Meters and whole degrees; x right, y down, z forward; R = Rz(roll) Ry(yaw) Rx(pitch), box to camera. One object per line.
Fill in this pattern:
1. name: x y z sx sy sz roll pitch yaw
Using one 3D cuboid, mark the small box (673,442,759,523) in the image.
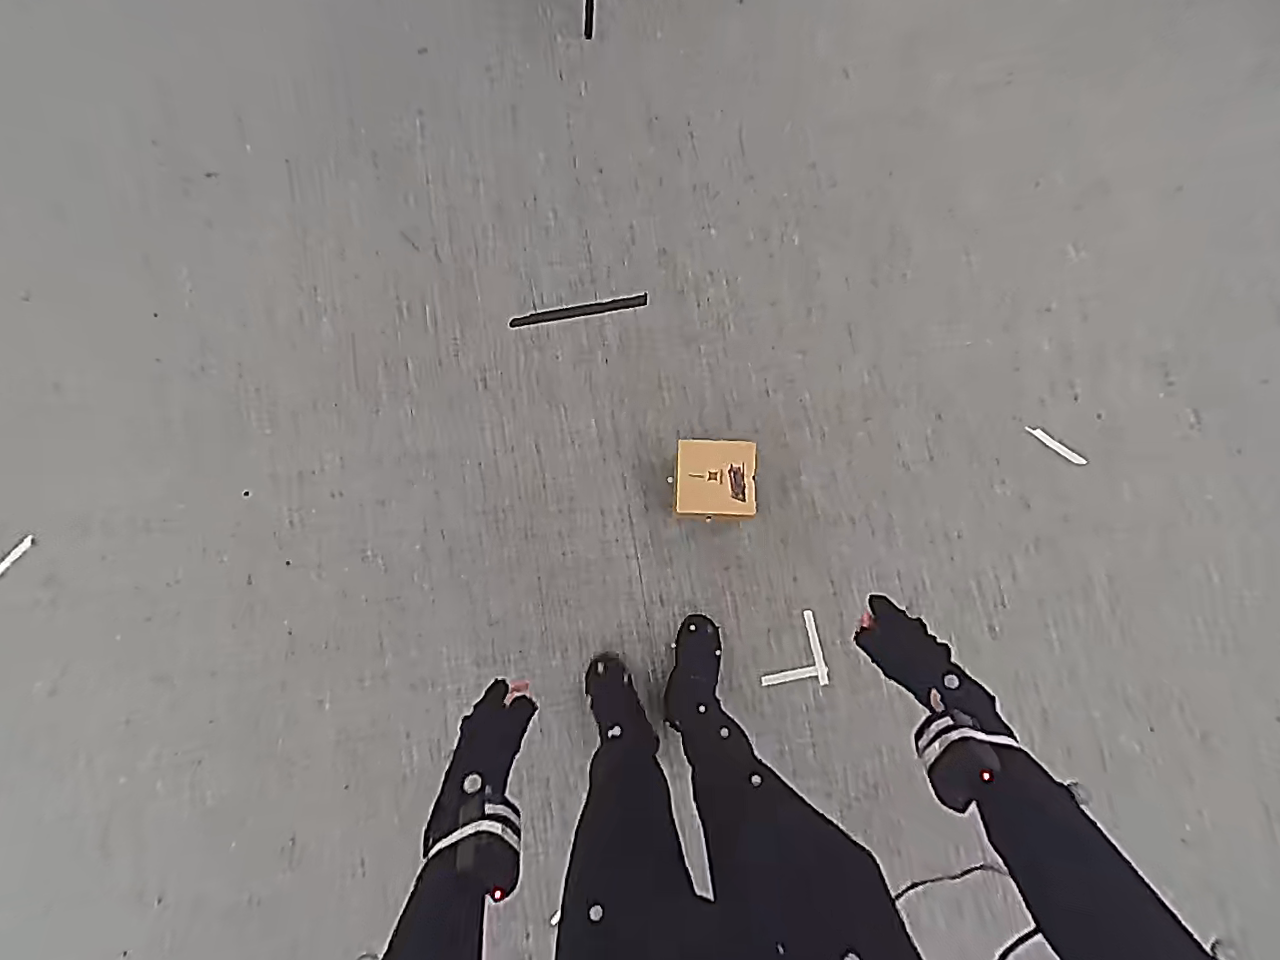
1. small box: 0.171 0.012 1.260 0.179 0.176 0.168 3 81 2
